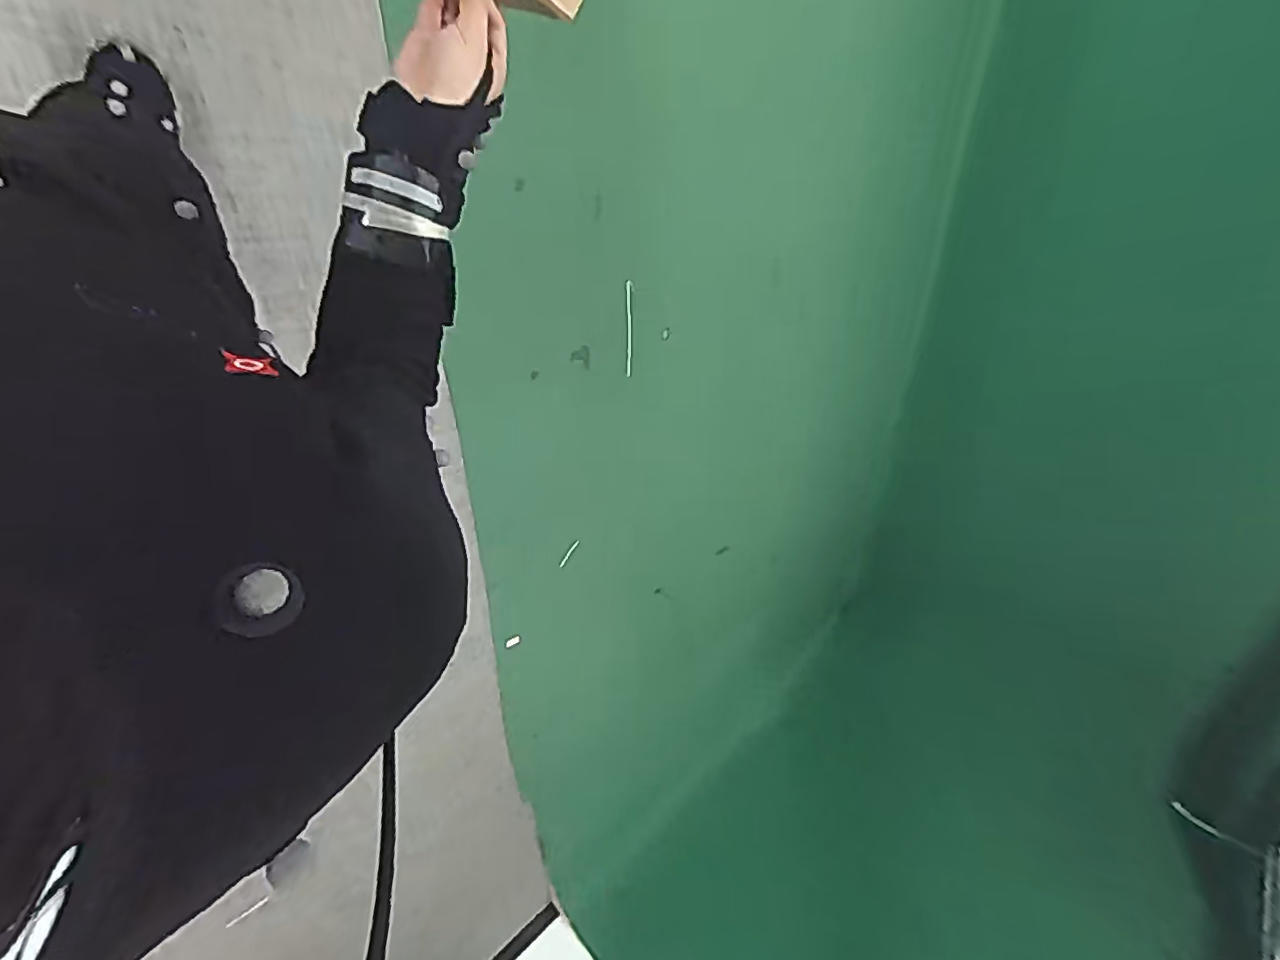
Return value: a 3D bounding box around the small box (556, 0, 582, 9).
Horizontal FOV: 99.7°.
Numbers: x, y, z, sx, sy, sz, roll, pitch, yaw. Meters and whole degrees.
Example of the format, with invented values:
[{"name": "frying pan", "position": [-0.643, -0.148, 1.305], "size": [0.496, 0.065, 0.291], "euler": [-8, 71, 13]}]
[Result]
[{"name": "small box", "position": [-0.100, -0.470, 0.354], "size": [0.168, 0.176, 0.179], "euler": [7, 123, -47]}]
